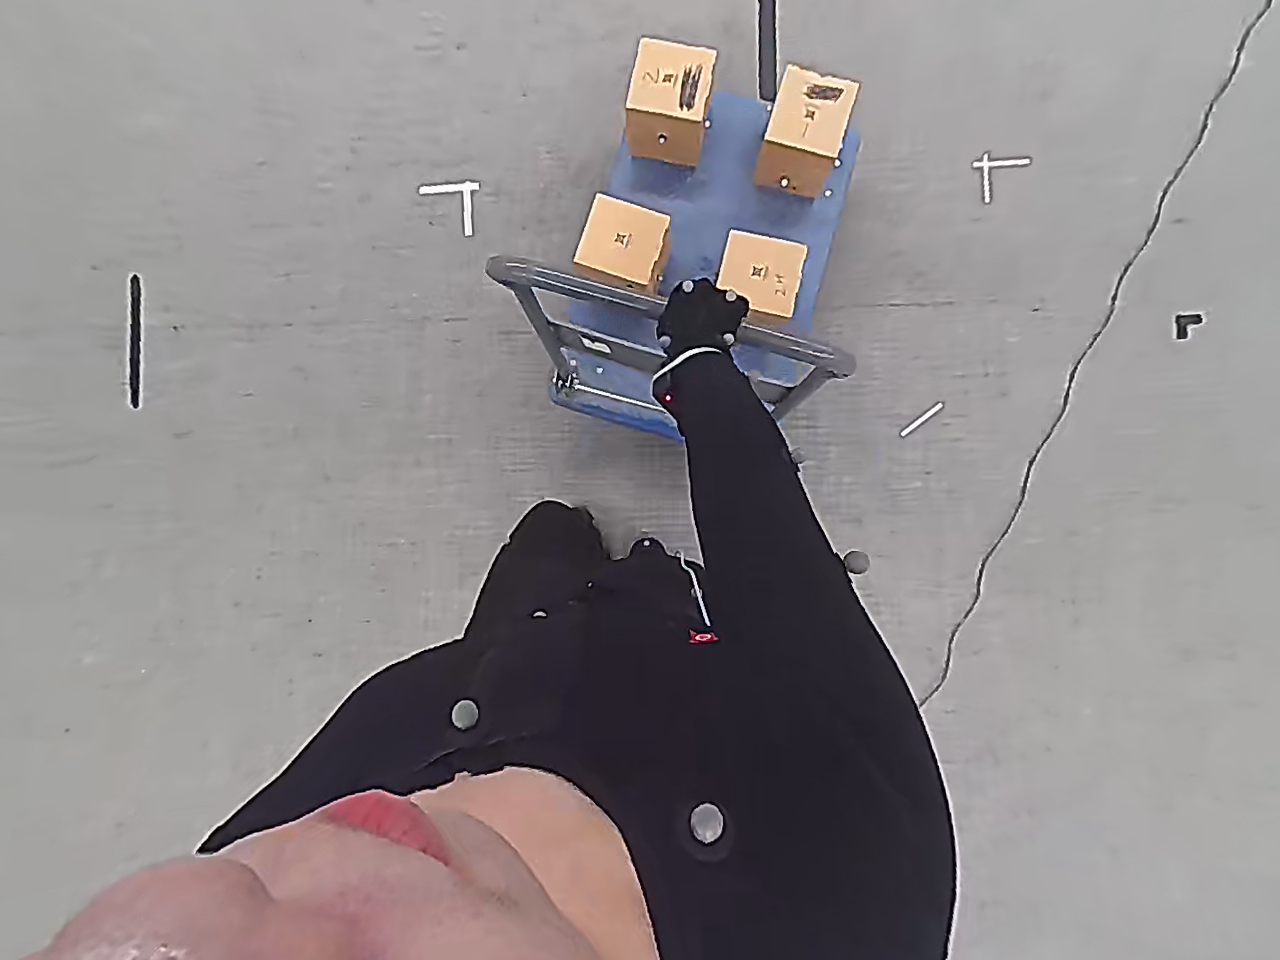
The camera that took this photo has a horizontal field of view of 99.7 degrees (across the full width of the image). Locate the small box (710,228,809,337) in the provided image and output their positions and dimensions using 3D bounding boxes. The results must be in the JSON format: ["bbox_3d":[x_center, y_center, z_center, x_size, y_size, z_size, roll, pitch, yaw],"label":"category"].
[{"bbox_3d":[0.265,-0.445,1.245,0.179,0.176,0.168,14,88,3],"label":"small box"}]

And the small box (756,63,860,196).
[{"bbox_3d":[0.379,-0.803,1.255,0.168,0.176,0.179,17,90,3],"label":"small box"}]

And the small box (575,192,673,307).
[{"bbox_3d":[-0.034,-0.527,1.261,0.179,0.176,0.168,19,88,1],"label":"small box"}]
